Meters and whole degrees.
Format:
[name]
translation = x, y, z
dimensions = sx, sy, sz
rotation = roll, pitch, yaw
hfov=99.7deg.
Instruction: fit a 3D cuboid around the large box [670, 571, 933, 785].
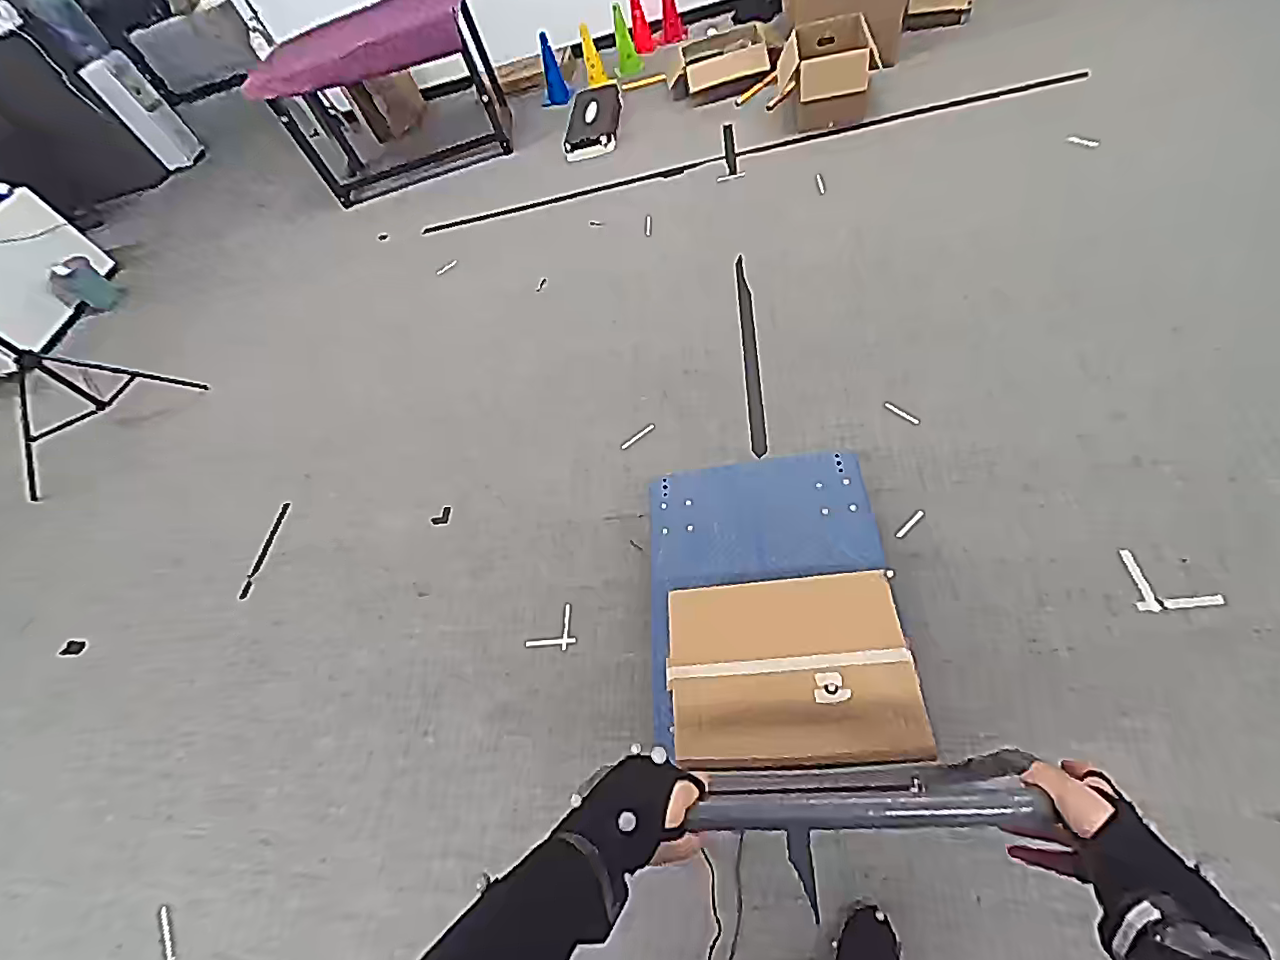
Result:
[large box]
translation = 0.287, 0.404, 1.065
dimensions = 0.408, 0.320, 0.320
rotation = -8, 56, 10
